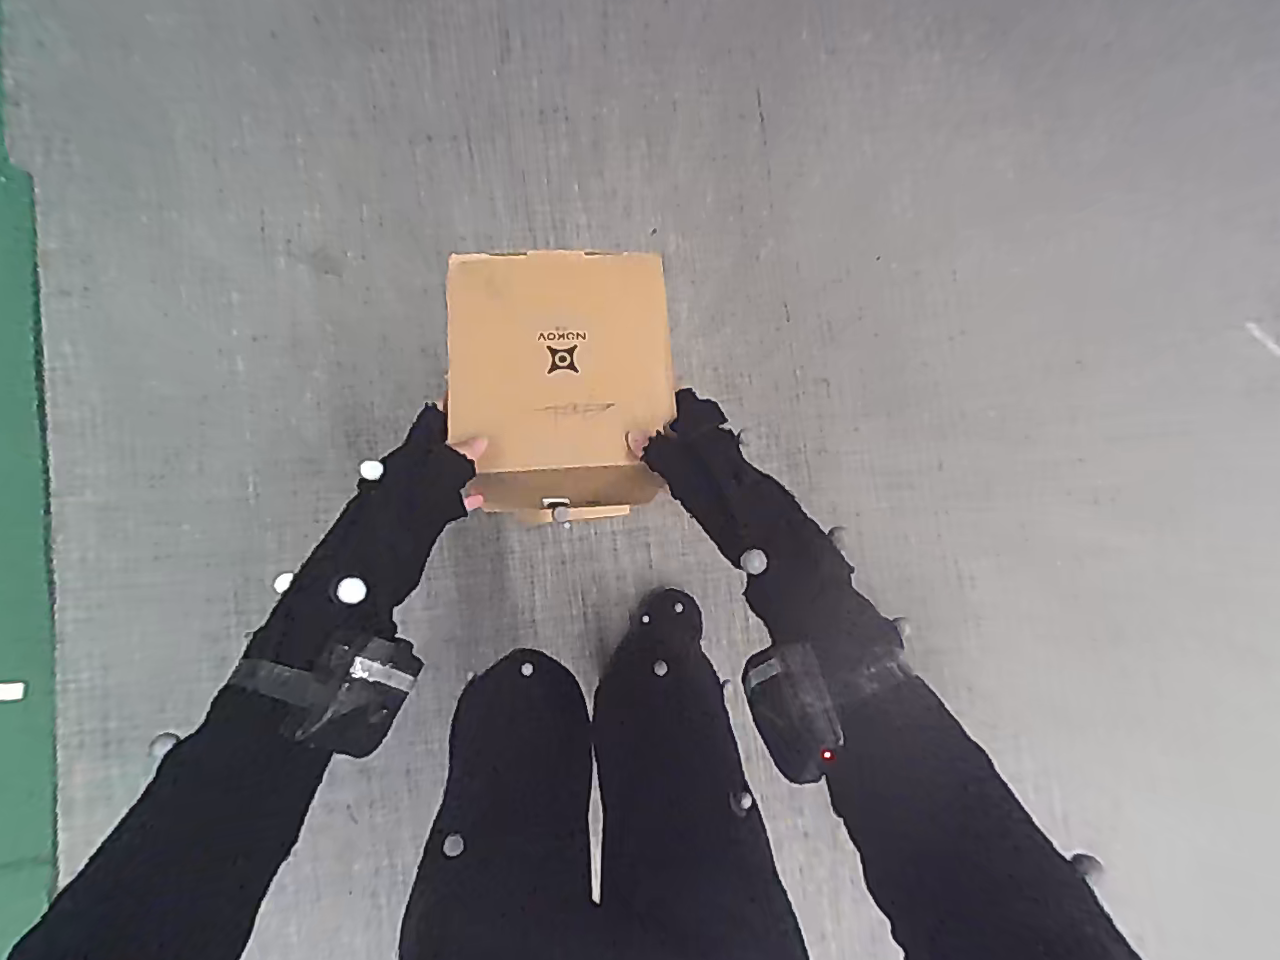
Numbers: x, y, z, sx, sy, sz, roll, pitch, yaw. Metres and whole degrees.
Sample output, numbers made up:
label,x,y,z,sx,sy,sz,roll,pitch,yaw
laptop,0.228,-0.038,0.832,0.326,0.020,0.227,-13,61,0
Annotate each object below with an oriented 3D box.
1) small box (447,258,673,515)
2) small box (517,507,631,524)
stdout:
label,x,y,z,sx,sy,sz,roll,pitch,yaw
small box,-0.069,-0.072,0.487,0.168,0.176,0.179,-5,78,-5
small box,-0.107,-0.014,0.902,0.179,0.176,0.168,-5,86,-3
